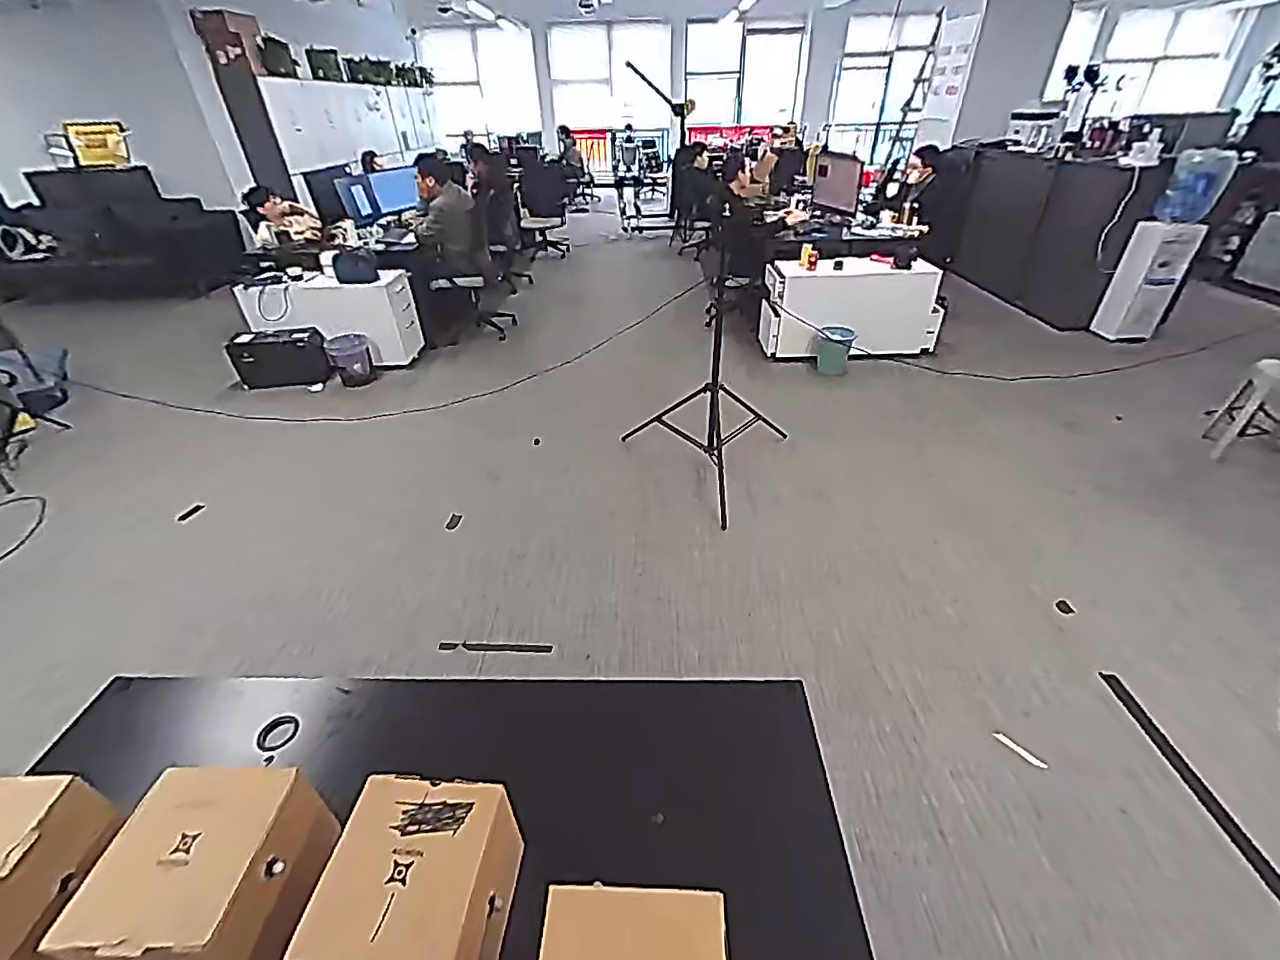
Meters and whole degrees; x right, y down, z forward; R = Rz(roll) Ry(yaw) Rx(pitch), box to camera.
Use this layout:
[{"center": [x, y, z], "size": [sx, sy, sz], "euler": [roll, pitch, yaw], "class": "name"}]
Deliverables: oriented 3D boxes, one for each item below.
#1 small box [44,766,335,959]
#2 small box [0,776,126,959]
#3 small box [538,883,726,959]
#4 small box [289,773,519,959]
[{"center": [-0.493, 0.465, 0.632], "size": [0.168, 0.176, 0.179], "euler": [0, 34, 0], "class": "small box"}, {"center": [-0.755, 0.470, 0.628], "size": [0.179, 0.176, 0.168], "euler": [-1, 34, -1], "class": "small box"}, {"center": [-0.008, 0.519, 0.518], "size": [0.179, 0.176, 0.168], "euler": [2, 34, 2], "class": "small box"}, {"center": [-0.244, 0.469, 0.615], "size": [0.168, 0.176, 0.179], "euler": [2, 35, 4], "class": "small box"}]
